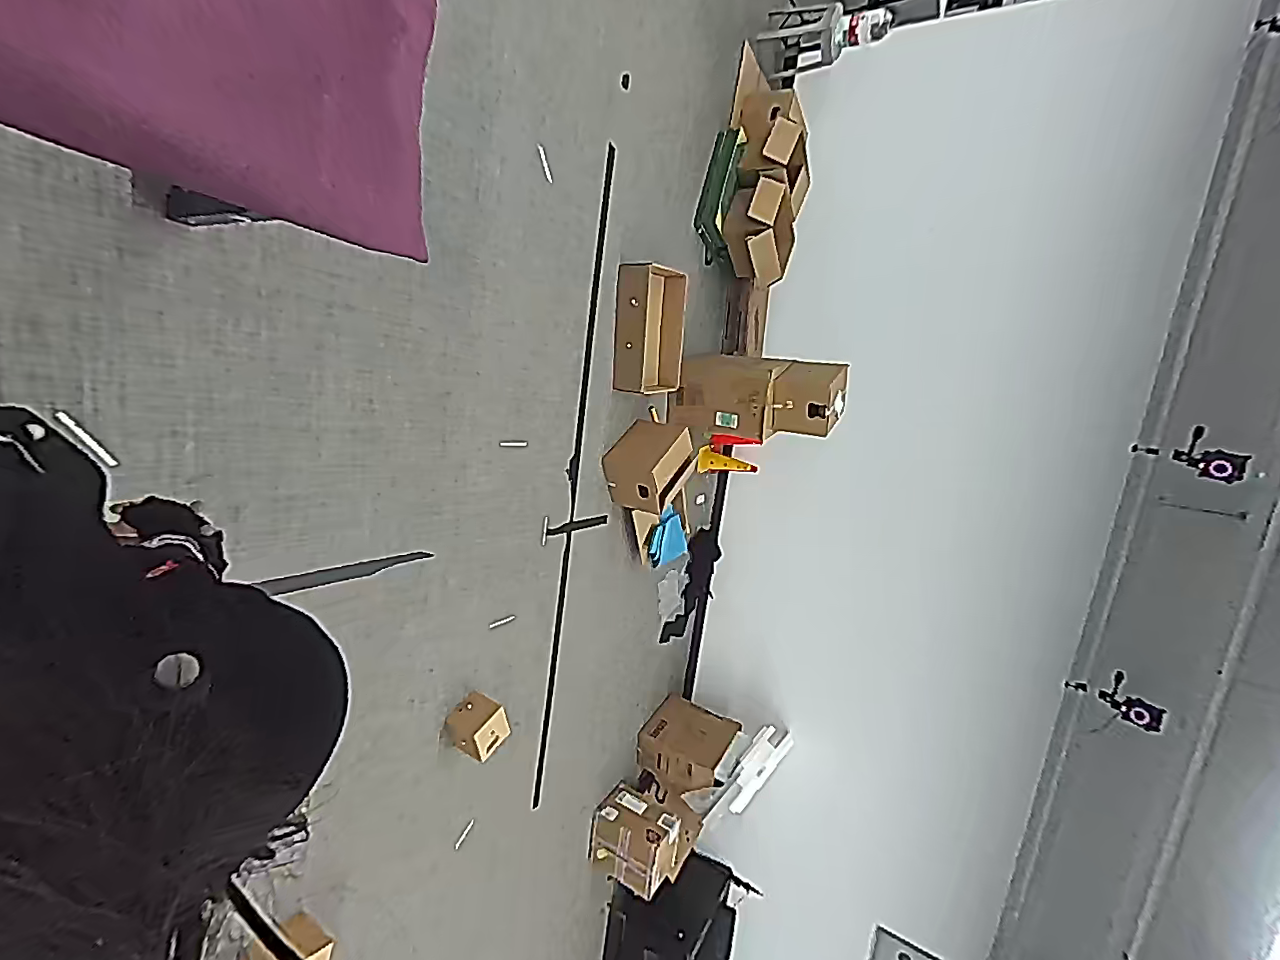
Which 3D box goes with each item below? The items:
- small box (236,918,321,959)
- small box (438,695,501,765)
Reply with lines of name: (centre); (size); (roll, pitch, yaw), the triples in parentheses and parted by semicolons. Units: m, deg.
small box: (-1.143, 1.528, 1.679); (0.179, 0.176, 0.168); (19, 86, -63)
small box: (-0.707, 1.031, 2.249); (0.168, 0.176, 0.179); (-40, 134, -48)
